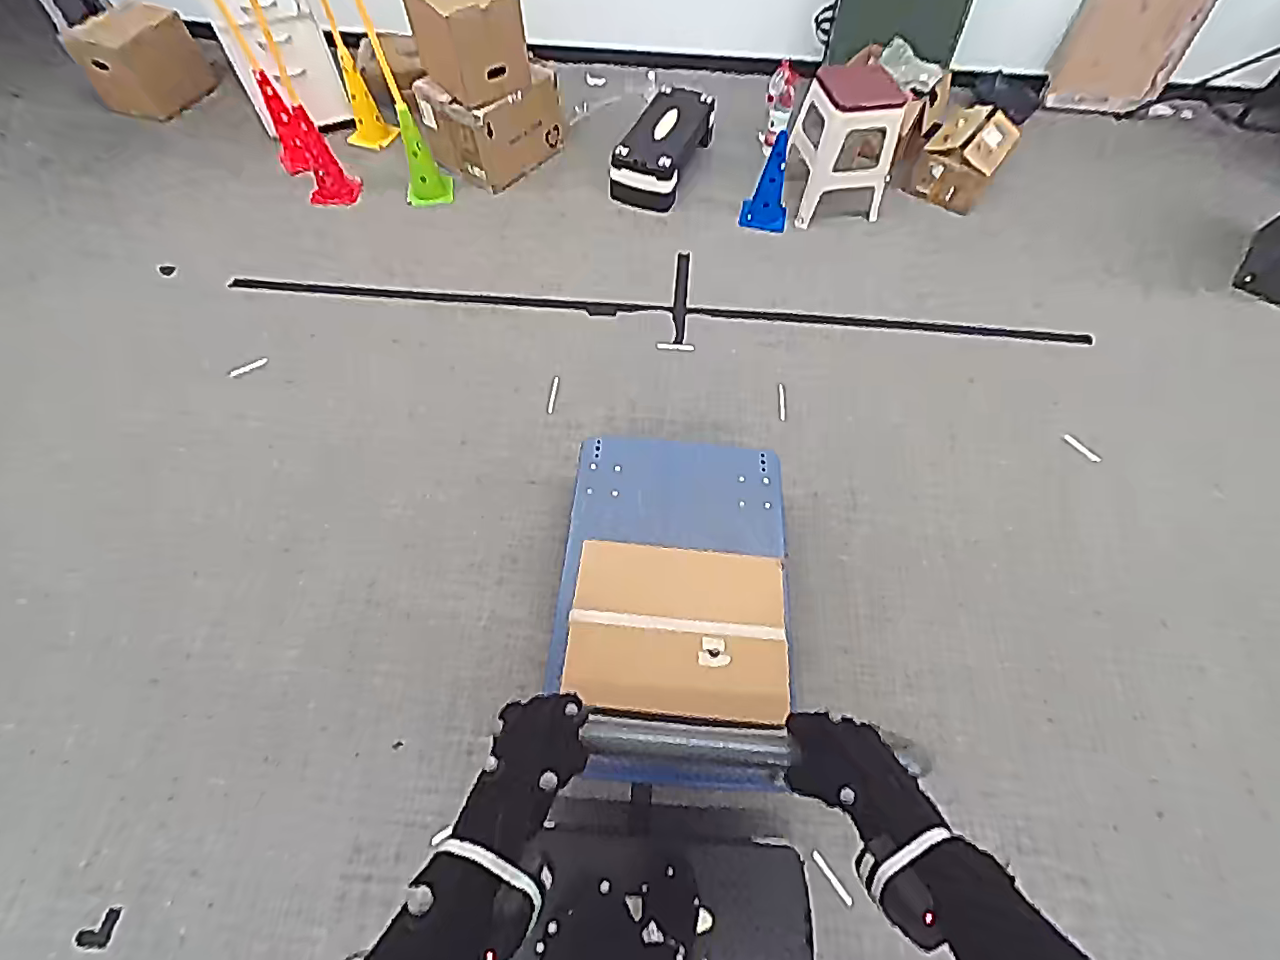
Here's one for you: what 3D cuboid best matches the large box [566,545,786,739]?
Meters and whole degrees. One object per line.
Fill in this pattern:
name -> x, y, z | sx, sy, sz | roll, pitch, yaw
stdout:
large box -> 0.065, 0.358, 1.161 | 0.408, 0.320, 0.320 | 6, 59, 0
